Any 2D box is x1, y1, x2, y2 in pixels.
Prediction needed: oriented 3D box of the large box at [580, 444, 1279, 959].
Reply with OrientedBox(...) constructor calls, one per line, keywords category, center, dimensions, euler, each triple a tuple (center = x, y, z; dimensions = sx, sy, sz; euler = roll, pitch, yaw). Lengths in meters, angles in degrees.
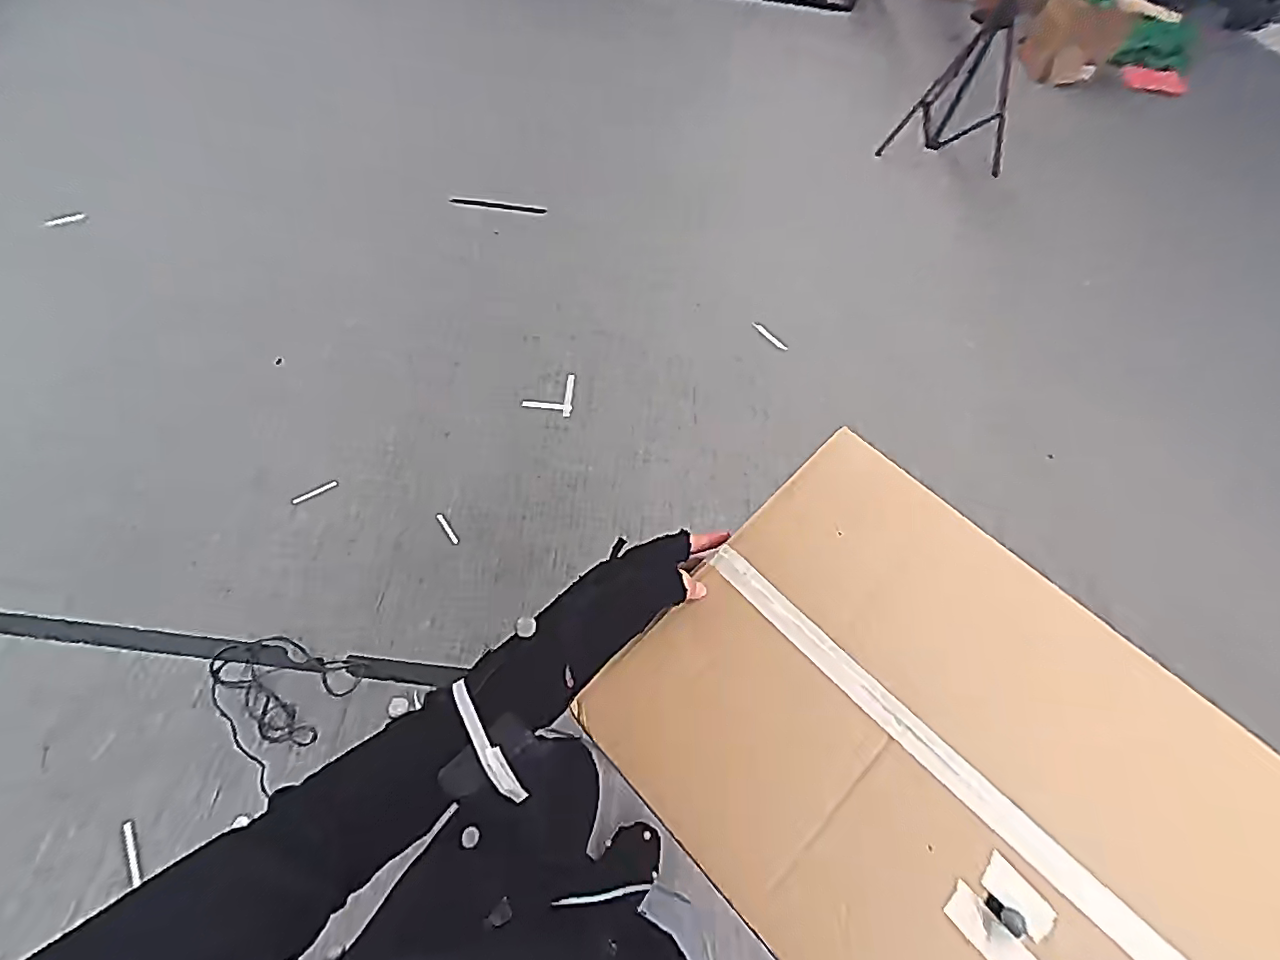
OrientedBox(category="large box", center=(0.203, 0.247, 0.507), dimensions=(0.320, 0.320, 0.408), euler=(-43, 72, -14))
